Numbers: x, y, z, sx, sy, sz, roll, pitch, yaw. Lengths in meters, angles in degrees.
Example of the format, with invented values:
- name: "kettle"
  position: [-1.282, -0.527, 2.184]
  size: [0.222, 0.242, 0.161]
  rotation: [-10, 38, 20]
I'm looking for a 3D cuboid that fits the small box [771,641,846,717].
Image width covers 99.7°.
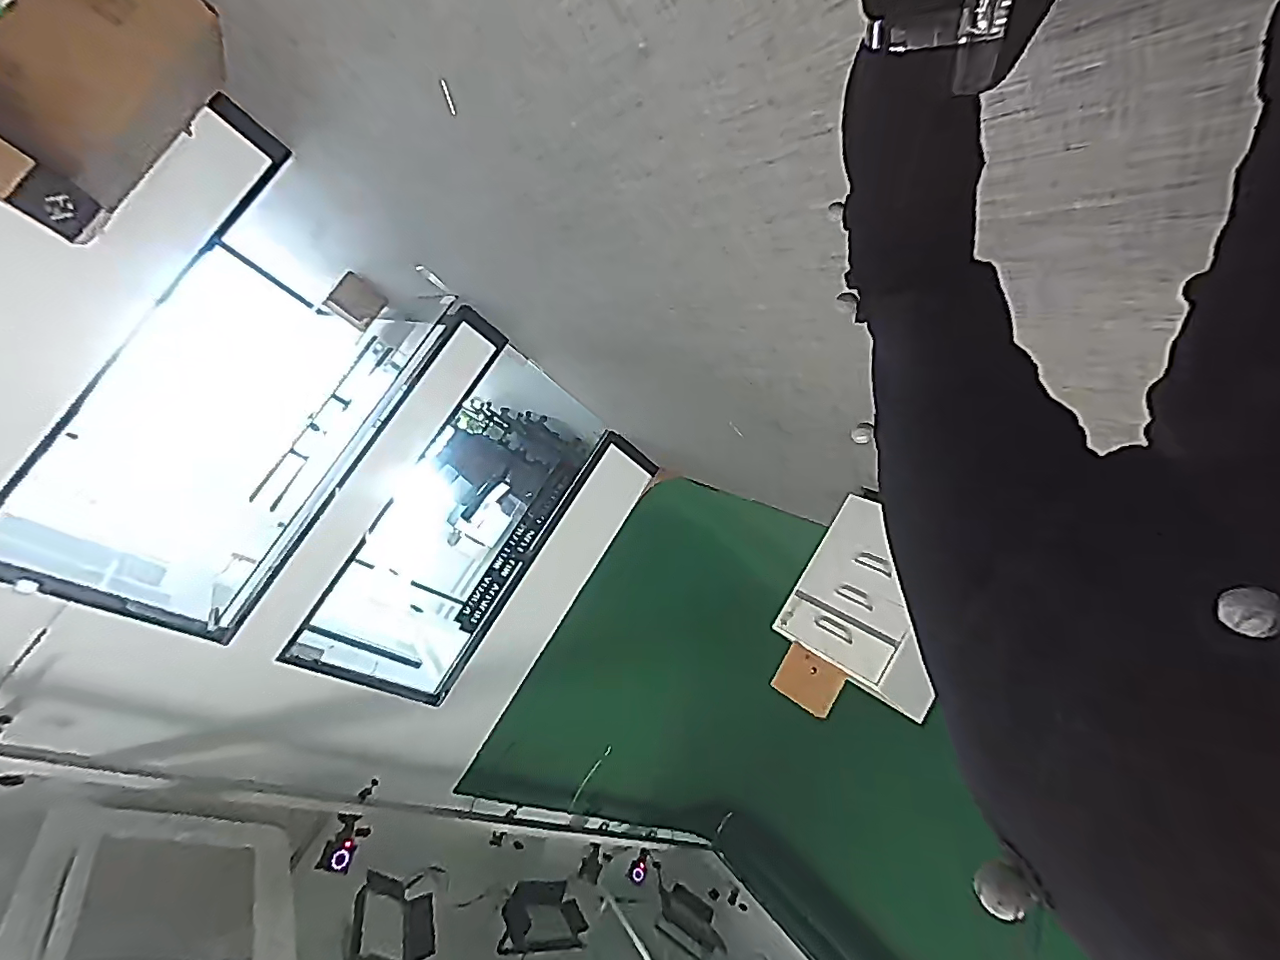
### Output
- name: "small box"
  position: [0.563, 0.658, 1.786]
  size: [0.168, 0.176, 0.179]
  rotation: [27, 171, 36]
